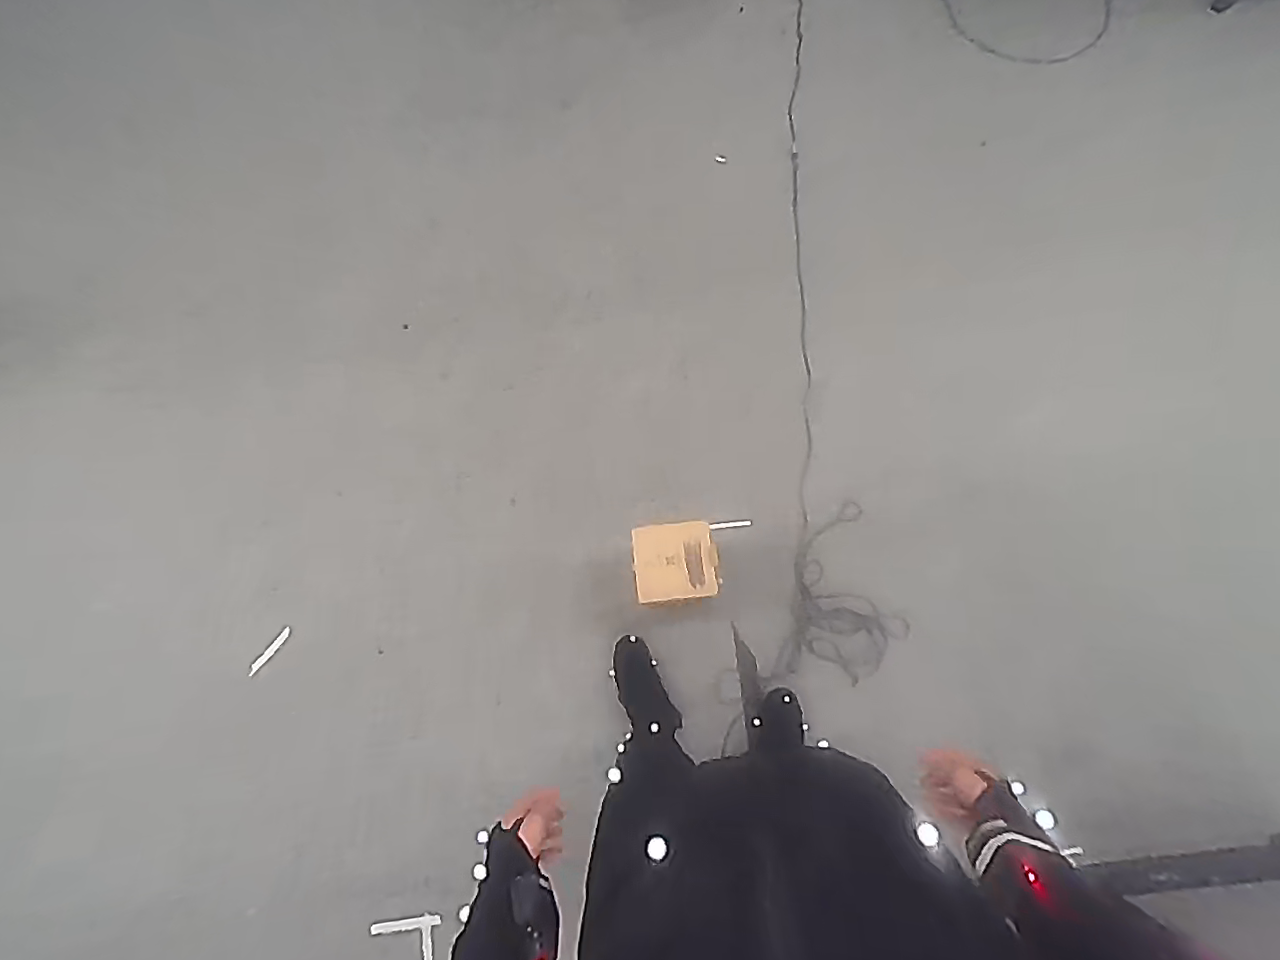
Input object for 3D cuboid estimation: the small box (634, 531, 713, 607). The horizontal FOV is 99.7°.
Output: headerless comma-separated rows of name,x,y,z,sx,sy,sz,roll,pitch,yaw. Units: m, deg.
small box,0.088,0.236,1.401,0.179,0.176,0.168,-9,76,2
